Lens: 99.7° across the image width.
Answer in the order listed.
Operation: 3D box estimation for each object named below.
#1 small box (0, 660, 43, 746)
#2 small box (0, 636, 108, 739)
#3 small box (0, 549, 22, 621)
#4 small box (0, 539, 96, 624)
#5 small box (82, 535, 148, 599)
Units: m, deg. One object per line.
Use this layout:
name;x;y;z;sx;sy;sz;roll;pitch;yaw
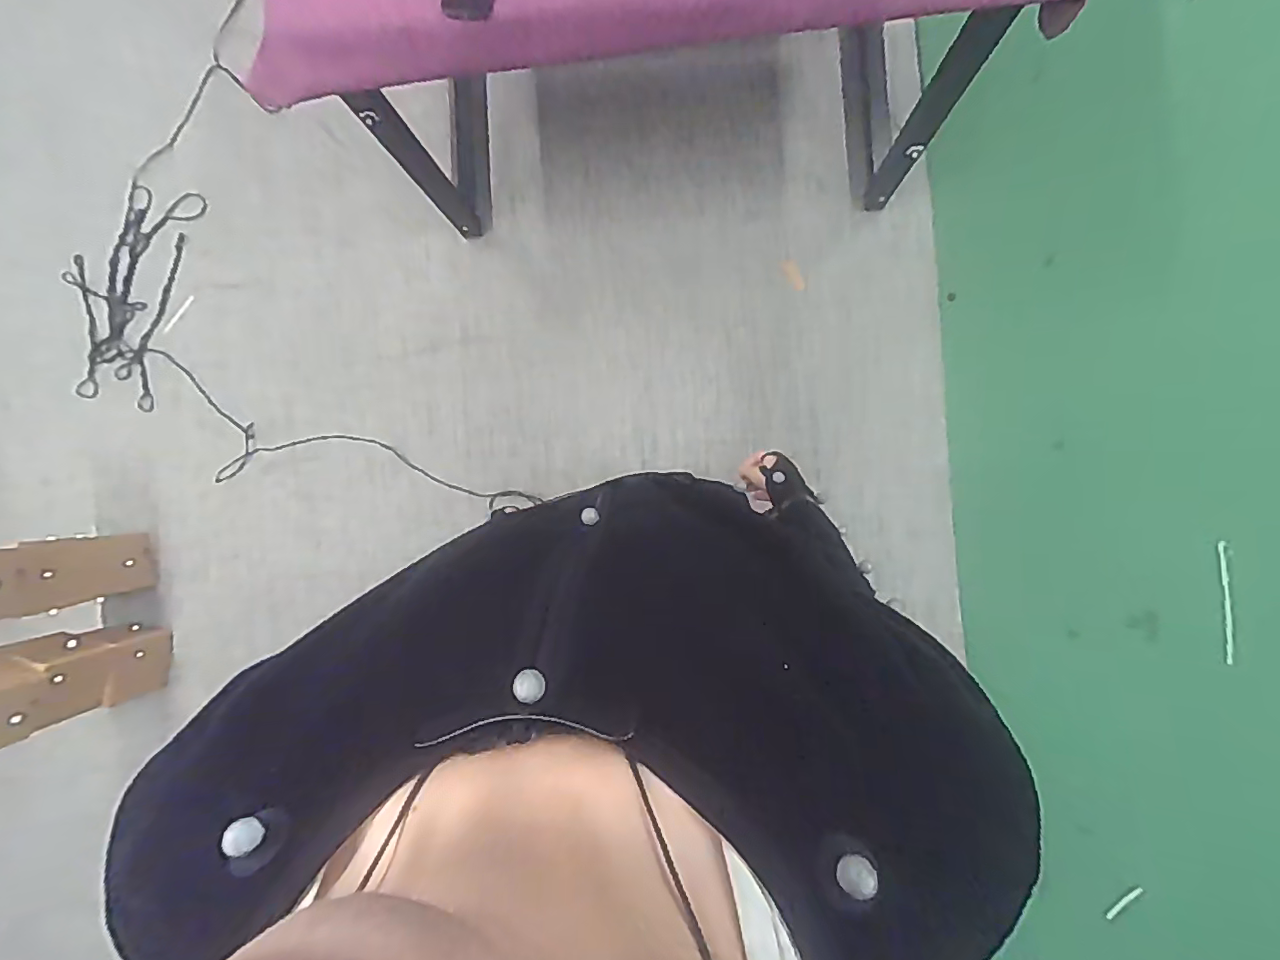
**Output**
small box;-1.533;0.518;1.216;0.179;0.176;0.168;19;90;4
small box;-1.529;0.520;1.380;0.168;0.176;0.179;14;89;5
small box;-1.567;0.254;1.222;0.179;0.176;0.168;-7;89;2
small box;-1.561;0.260;1.385;0.168;0.176;0.179;-15;88;3
small box;-1.562;0.257;1.548;0.179;0.176;0.168;-11;88;4
